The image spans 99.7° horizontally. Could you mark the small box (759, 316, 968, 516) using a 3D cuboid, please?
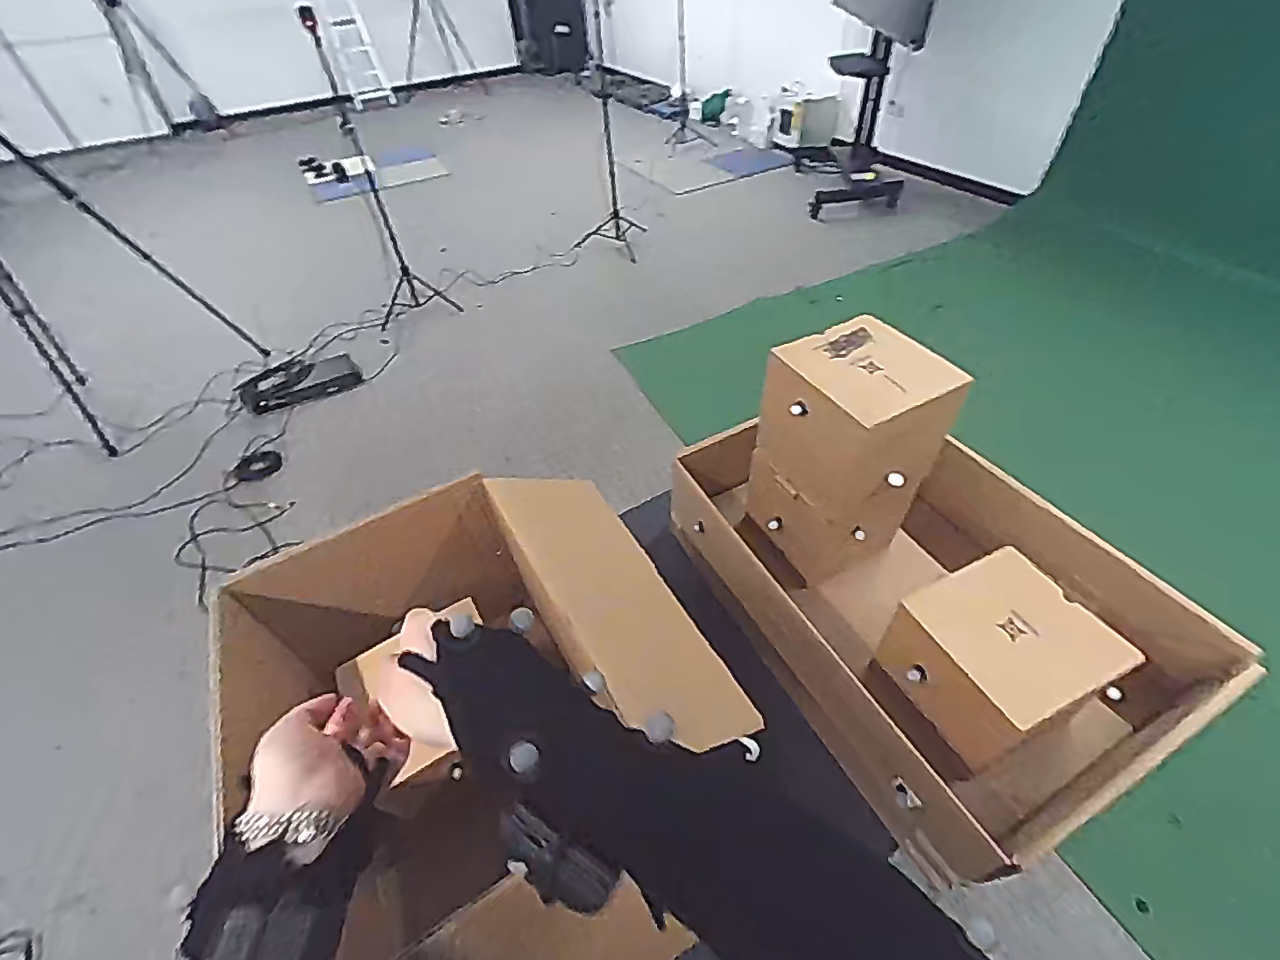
[{"bbox_3d":[0.278,-0.085,0.720,0.168,0.176,0.179,-23,51,-16],"label":"small box"}]
